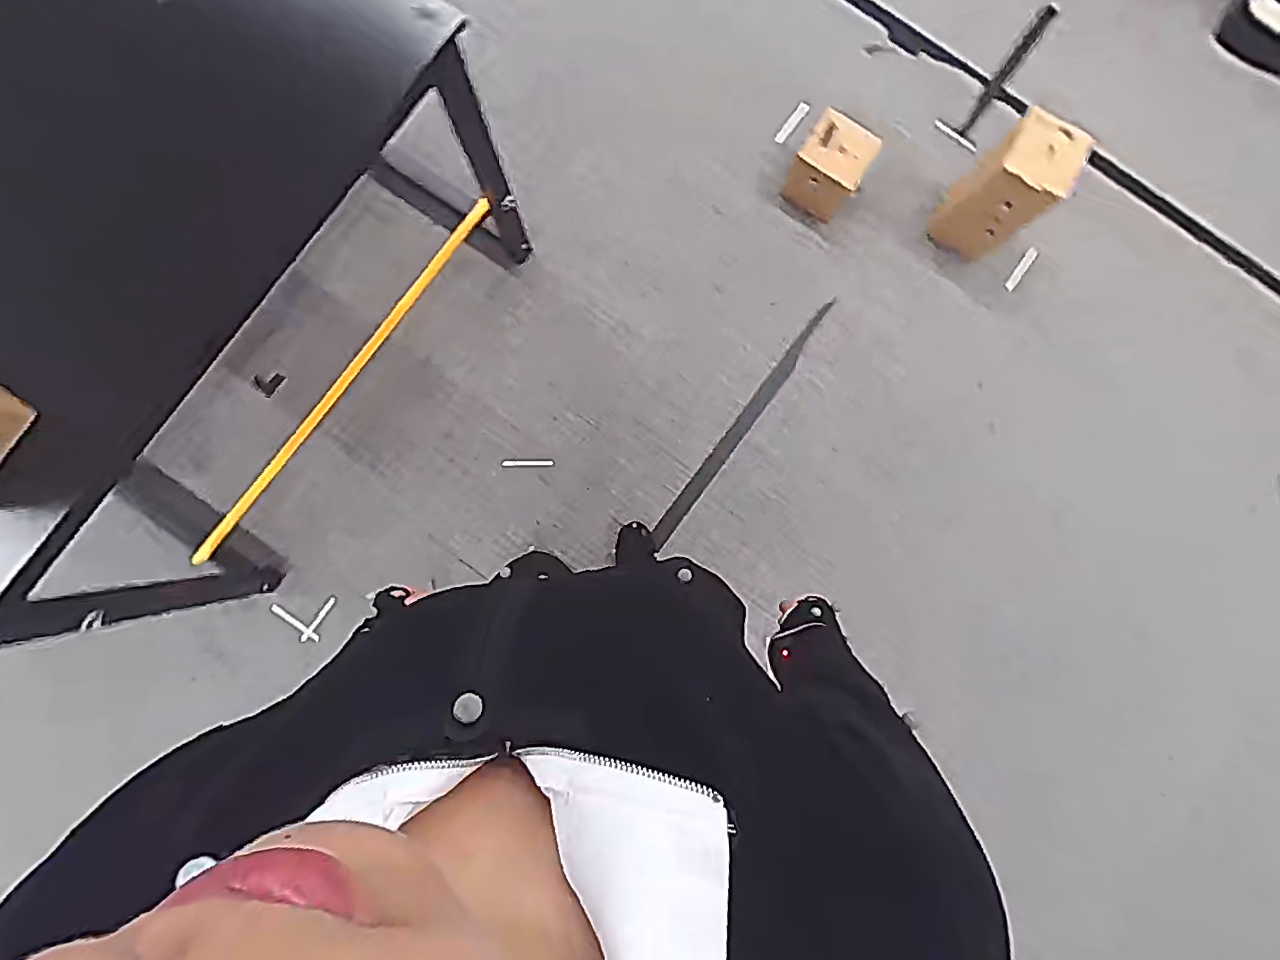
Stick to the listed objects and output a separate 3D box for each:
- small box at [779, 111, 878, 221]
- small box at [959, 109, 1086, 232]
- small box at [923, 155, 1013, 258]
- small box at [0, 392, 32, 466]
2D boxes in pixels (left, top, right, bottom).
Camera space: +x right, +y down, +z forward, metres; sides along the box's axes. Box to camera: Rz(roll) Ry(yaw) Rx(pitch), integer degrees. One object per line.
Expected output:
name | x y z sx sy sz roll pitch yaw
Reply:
small box | 0.516 -0.865 1.510 0.179 0.176 0.168 33 86 0
small box | 0.944 -0.762 1.354 0.168 0.176 0.179 28 86 0
small box | 0.945 -0.757 1.518 0.179 0.176 0.168 30 85 0
small box | -0.962 -0.075 0.677 0.179 0.176 0.168 33 86 0
